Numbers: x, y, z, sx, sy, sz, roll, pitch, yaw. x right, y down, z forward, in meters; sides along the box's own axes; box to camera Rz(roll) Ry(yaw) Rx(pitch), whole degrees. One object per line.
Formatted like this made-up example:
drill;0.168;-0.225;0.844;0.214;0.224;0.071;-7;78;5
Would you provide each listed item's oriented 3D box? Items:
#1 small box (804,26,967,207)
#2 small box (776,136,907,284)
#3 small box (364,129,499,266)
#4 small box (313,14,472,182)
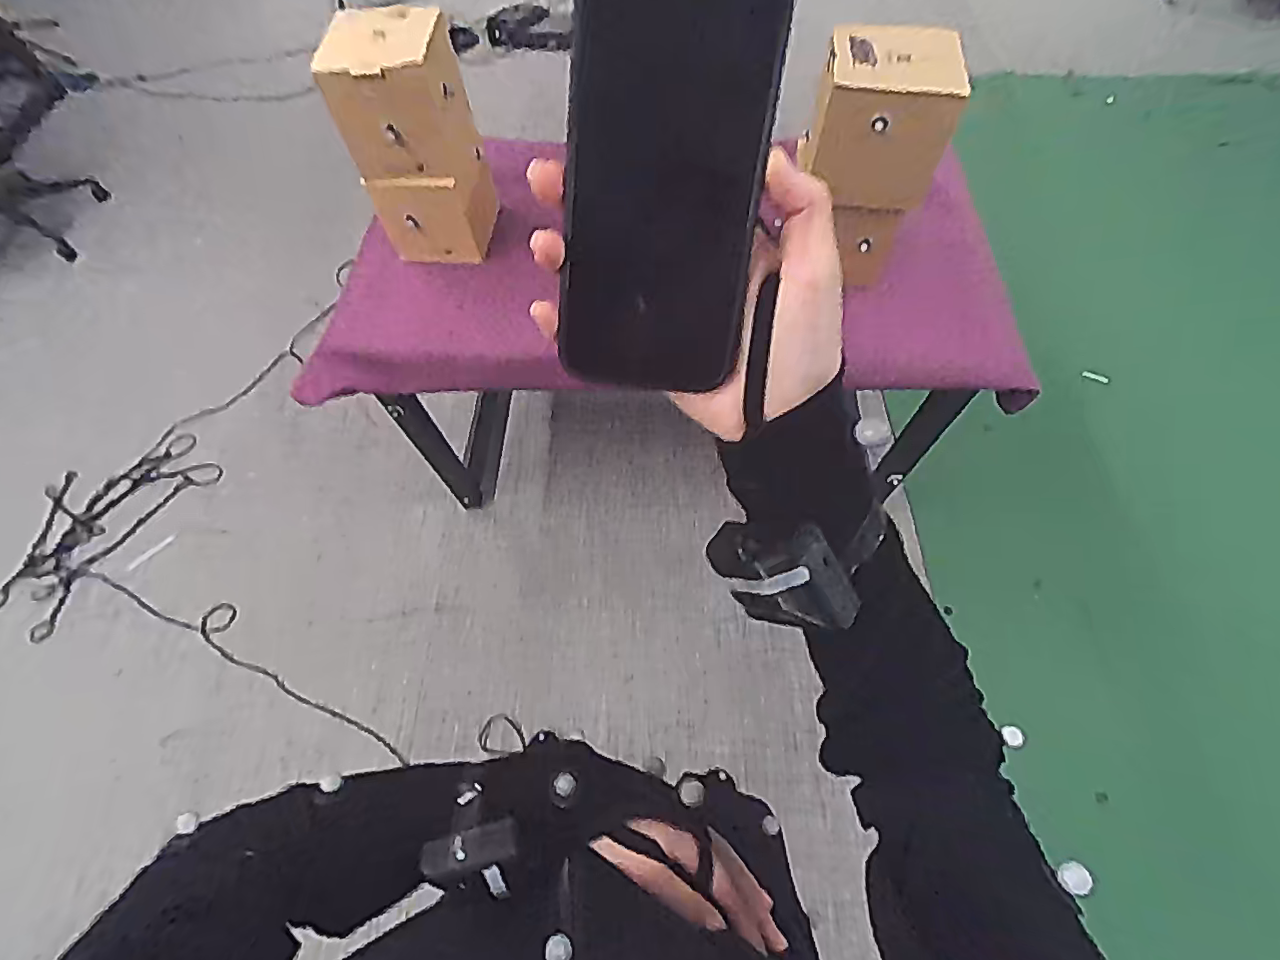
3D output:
small box;0.347;-0.533;0.802;0.179;0.176;0.168;7;62;6
small box;0.347;-0.469;0.953;0.179;0.176;0.168;7;62;7
small box;-0.379;-0.526;1.021;0.168;0.176;0.179;3;62;4
small box;-0.386;-0.611;0.880;0.168;0.176;0.179;-2;63;1
